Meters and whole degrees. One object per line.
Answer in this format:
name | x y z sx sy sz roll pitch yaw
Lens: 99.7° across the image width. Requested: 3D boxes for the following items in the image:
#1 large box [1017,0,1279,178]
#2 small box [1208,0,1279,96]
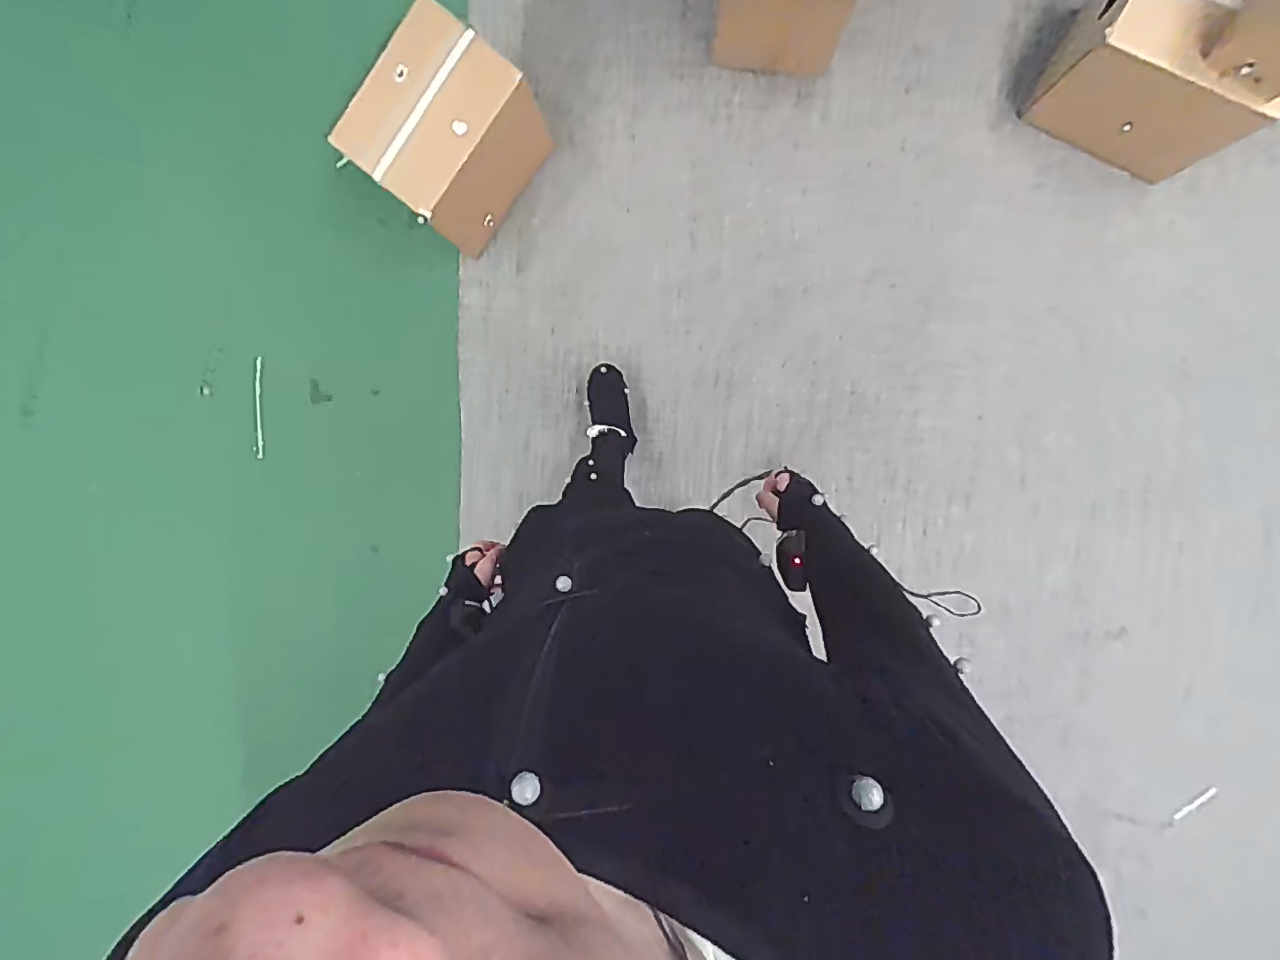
large box | 1.230 -0.994 1.269 0.408 0.320 0.320 26 97 3
small box | 1.271 -0.894 1.029 0.168 0.176 0.179 33 99 2
